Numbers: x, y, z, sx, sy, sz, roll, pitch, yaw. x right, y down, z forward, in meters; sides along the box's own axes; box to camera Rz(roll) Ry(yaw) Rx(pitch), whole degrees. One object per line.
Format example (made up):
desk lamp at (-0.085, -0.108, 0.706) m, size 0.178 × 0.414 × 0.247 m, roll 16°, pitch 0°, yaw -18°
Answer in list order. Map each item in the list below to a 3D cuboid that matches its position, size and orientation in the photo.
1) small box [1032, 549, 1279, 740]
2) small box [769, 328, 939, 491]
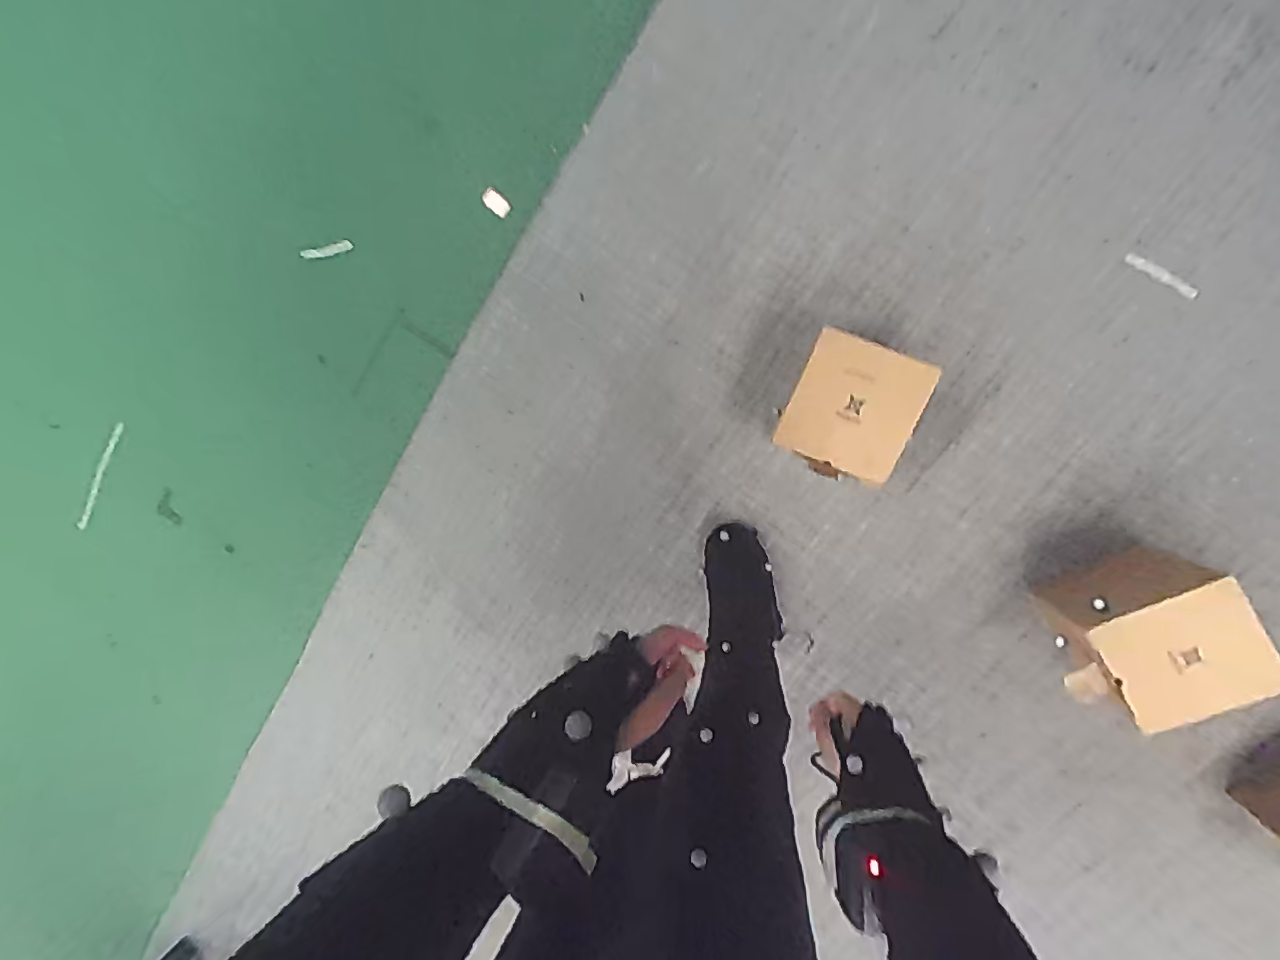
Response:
small box at (0.709, 0.218, 0.758) m, size 0.179 × 0.176 × 0.168 m, roll -30°, pitch 91°, yaw 16°
small box at (0.304, -0.104, 0.808) m, size 0.168 × 0.176 × 0.179 m, roll 24°, pitch 101°, yaw 8°
